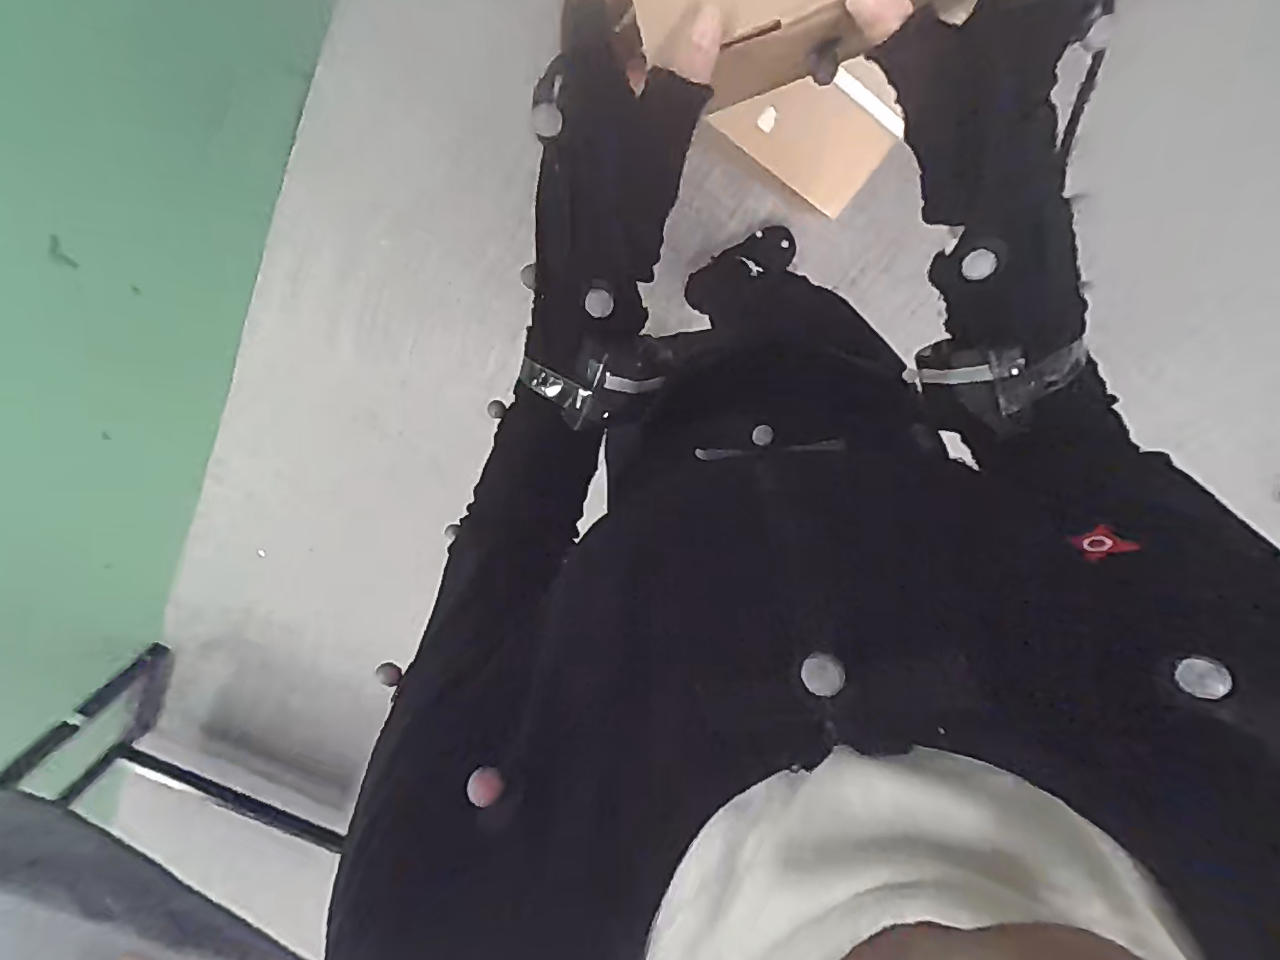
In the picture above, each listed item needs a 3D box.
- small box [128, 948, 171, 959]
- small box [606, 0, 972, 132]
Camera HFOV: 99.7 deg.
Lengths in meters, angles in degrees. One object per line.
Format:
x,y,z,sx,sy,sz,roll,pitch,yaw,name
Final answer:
-1.358,1.417,1.462,0.179,0.176,0.168,32,115,-9,small box
0.069,-0.299,0.270,0.168,0.176,0.179,-10,116,20,small box
